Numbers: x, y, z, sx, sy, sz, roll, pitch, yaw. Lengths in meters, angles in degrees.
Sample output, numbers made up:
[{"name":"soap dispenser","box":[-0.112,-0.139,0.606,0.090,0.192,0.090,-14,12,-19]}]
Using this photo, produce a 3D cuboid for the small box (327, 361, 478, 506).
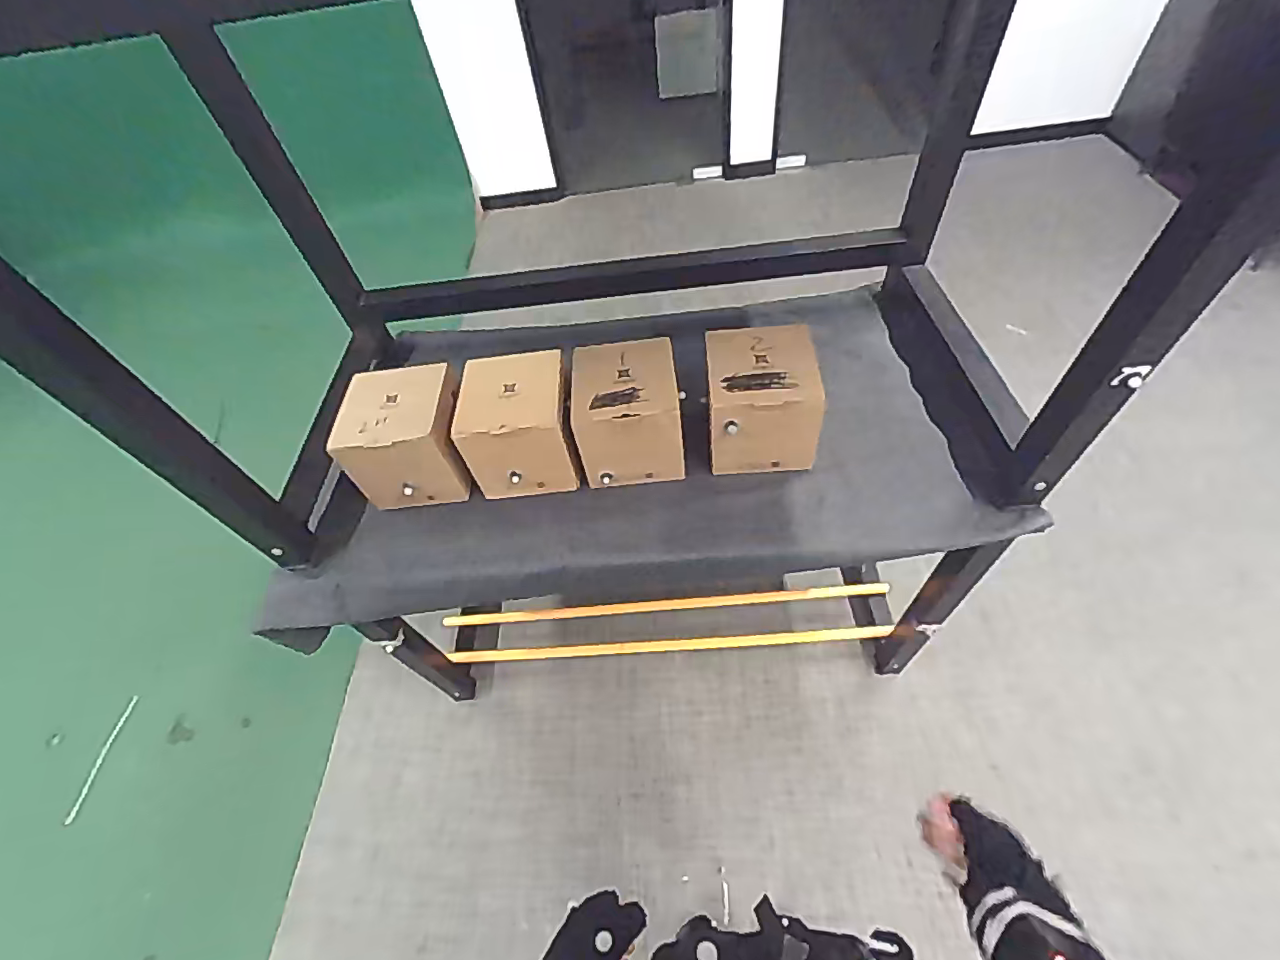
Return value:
[{"name":"small box","box":[-0.392,-0.078,0.932,0.168,0.176,0.179,-7,52,3]}]
